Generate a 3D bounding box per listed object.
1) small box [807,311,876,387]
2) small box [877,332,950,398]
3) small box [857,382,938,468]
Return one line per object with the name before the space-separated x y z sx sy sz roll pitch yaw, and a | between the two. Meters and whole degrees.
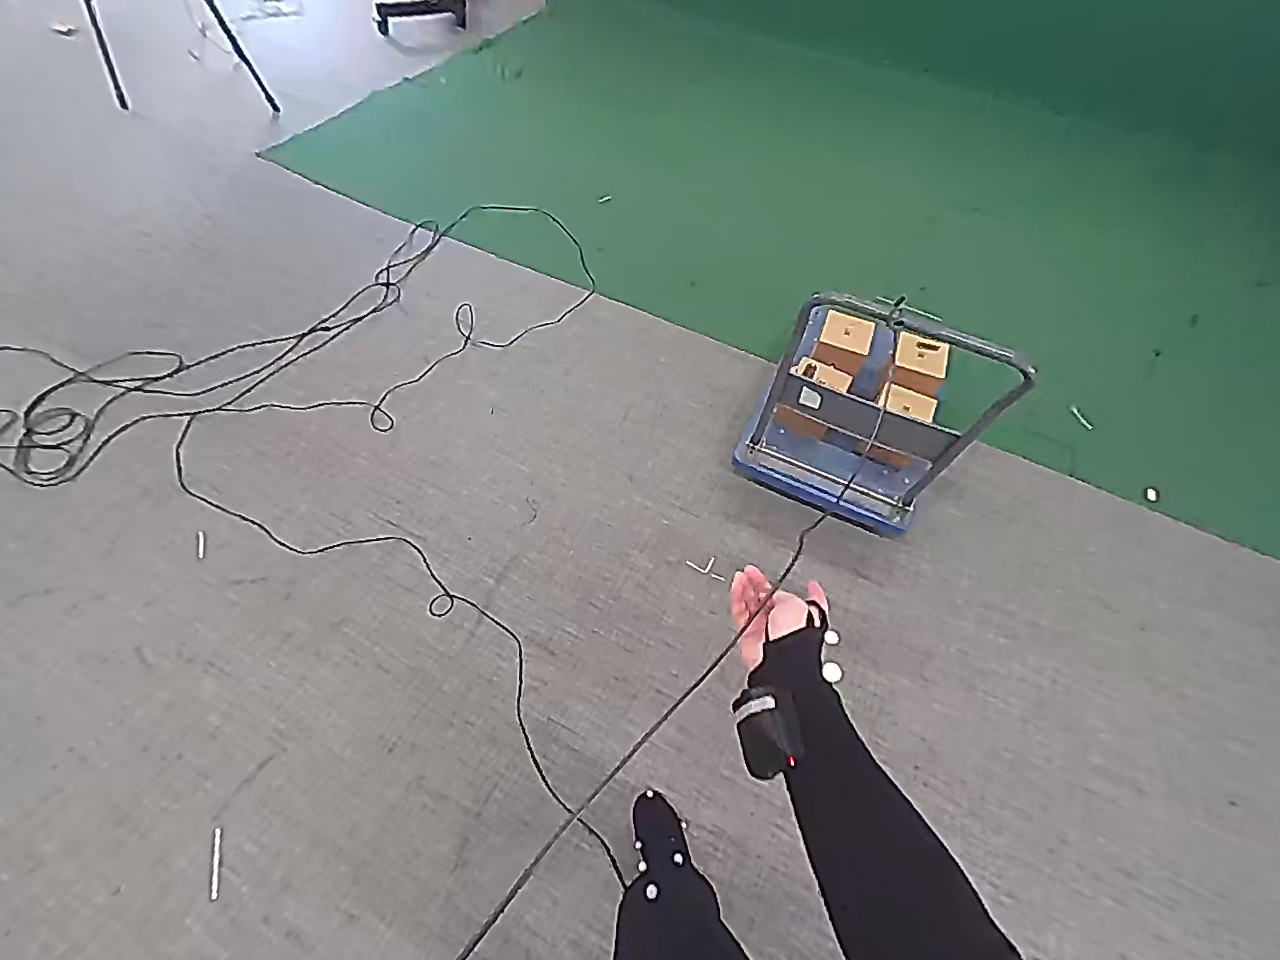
small box | 0.706 -0.459 1.910 0.168 0.176 0.179 21 58 10
small box | 0.939 -0.374 1.866 0.168 0.176 0.179 20 59 11
small box | 0.819 -0.174 1.730 0.168 0.176 0.179 25 60 13
